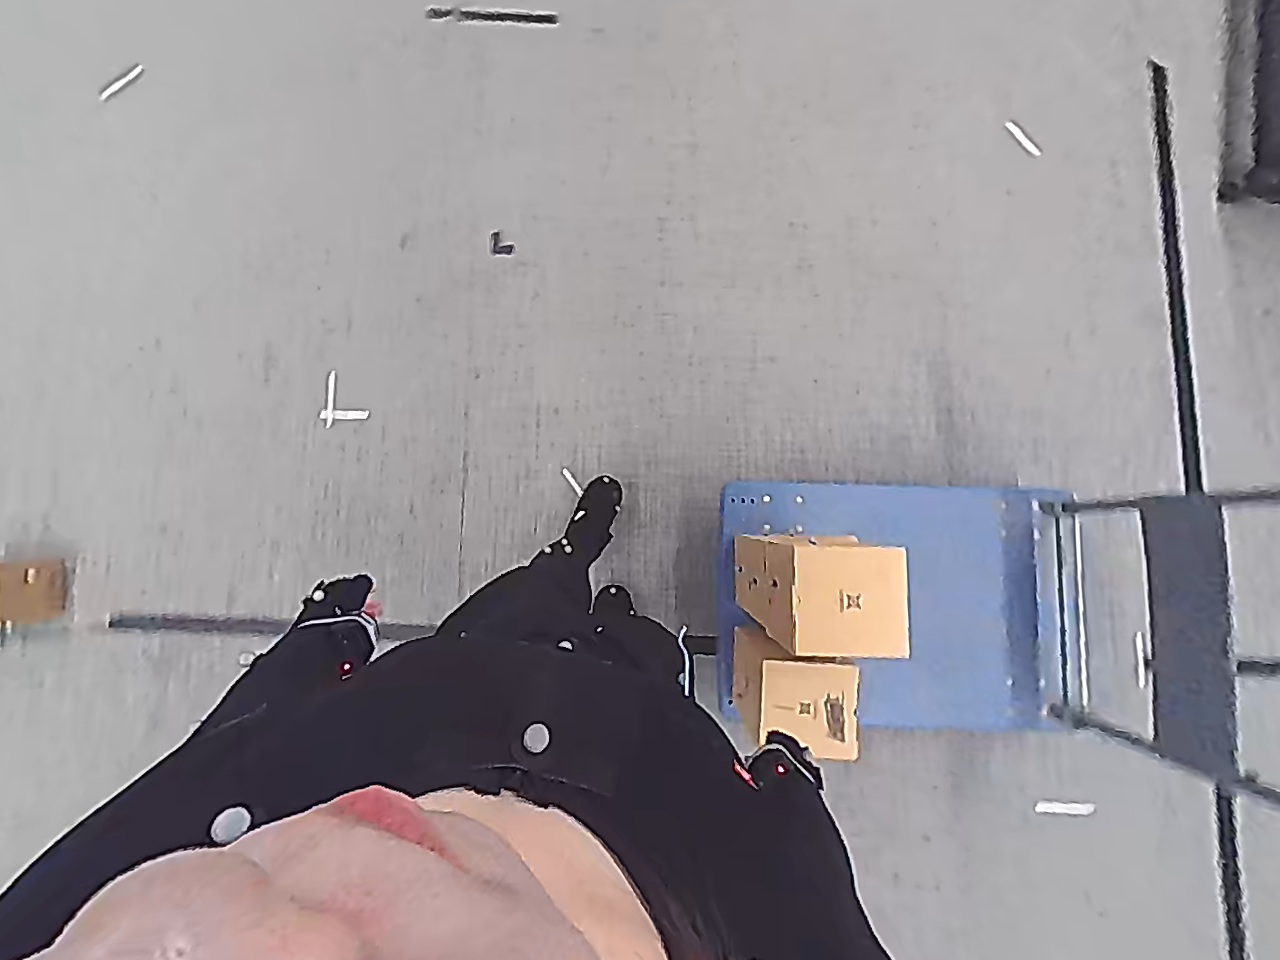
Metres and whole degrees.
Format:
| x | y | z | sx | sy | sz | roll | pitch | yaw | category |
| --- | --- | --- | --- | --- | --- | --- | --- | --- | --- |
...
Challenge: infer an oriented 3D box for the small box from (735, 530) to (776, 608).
| x | y | z | sx | sy | sz | roll | pitch | yaw | category |
| --- | --- | --- | --- | --- | --- | --- | --- | --- | --- |
| 0.314 | 0.200 | 1.230 | 0.179 | 0.176 | 0.168 | 1 | 86 | -1 | small box |

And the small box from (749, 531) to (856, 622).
| x | y | z | sx | sy | sz | roll | pitch | yaw | category |
| --- | --- | --- | --- | --- | --- | --- | --- | --- | --- |
| 0.313 | 0.186 | 1.066 | 0.179 | 0.176 | 0.168 | -1 | 86 | 1 | small box |

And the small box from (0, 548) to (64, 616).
| x | y | z | sx | sy | sz | roll | pitch | yaw | category |
| --- | --- | --- | --- | --- | --- | --- | --- | --- | --- |
| -1.681 | 0.266 | 1.419 | 0.179 | 0.176 | 0.168 | -3 | 85 | 1 | small box |

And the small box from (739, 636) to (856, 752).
| x | y | z | sx | sy | sz | roll | pitch | yaw | category |
| --- | --- | --- | --- | --- | --- | --- | --- | --- | --- |
| 0.299 | 0.406 | 1.049 | 0.179 | 0.176 | 0.168 | 4 | 85 | 1 | small box |

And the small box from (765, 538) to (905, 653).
| x | y | z | sx | sy | sz | roll | pitch | yaw | category |
| --- | --- | --- | --- | --- | --- | --- | --- | --- | --- |
| 0.316 | 0.183 | 0.903 | 0.179 | 0.176 | 0.168 | 1 | 86 | 0 | small box |
